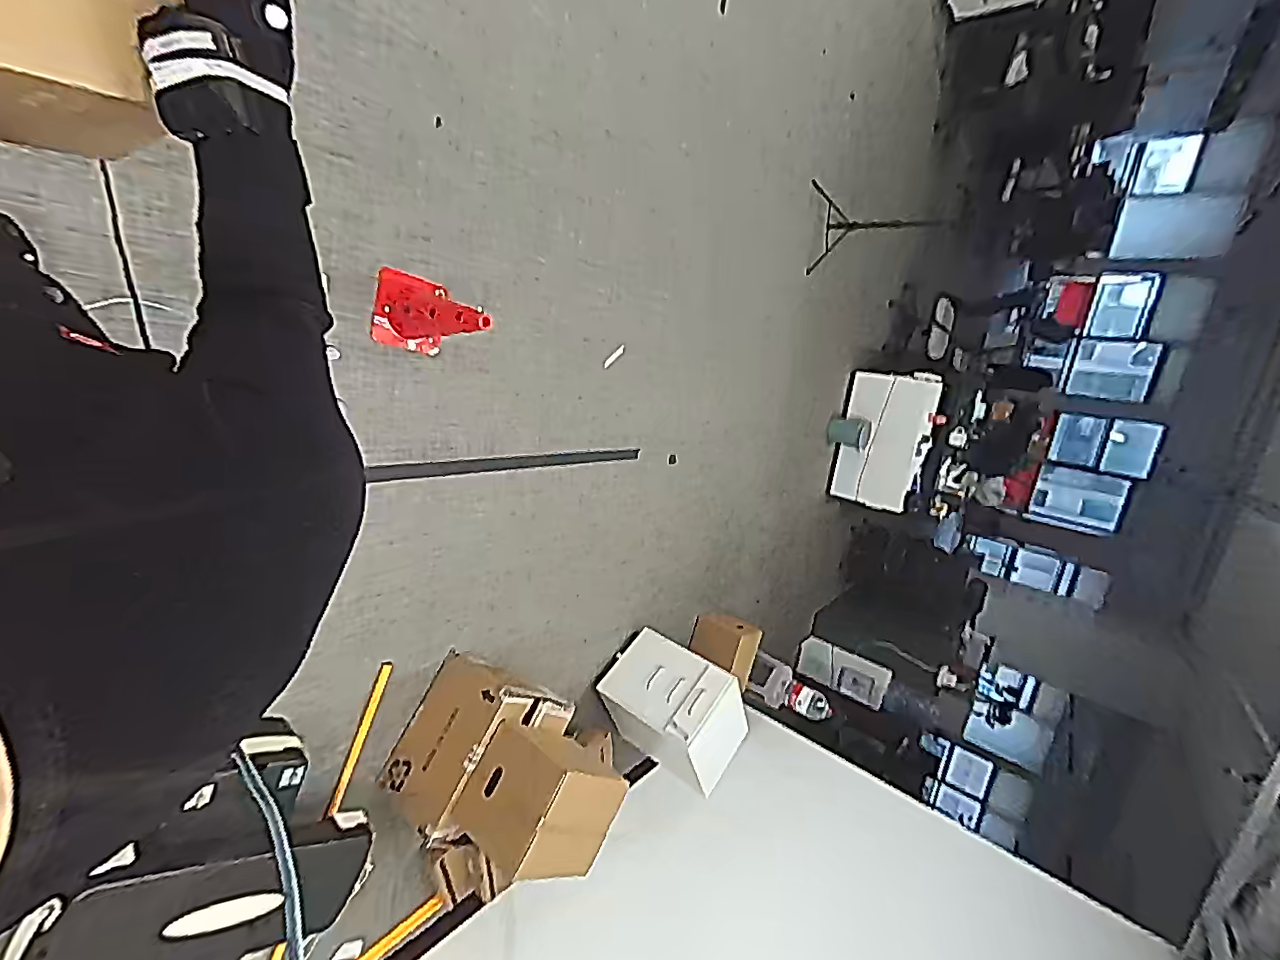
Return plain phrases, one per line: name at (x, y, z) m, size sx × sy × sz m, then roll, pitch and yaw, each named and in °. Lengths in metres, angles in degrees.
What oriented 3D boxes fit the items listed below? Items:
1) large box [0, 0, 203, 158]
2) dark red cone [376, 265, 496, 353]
large box at (-0.553, -0.409, 0.291) m, size 0.408 × 0.320 × 0.320 m, roll -17°, pitch 117°, yaw -50°
dark red cone at (-0.495, -0.421, 1.383) m, size 0.201 × 0.394 × 0.202 m, roll 2°, pitch 103°, yaw -51°
